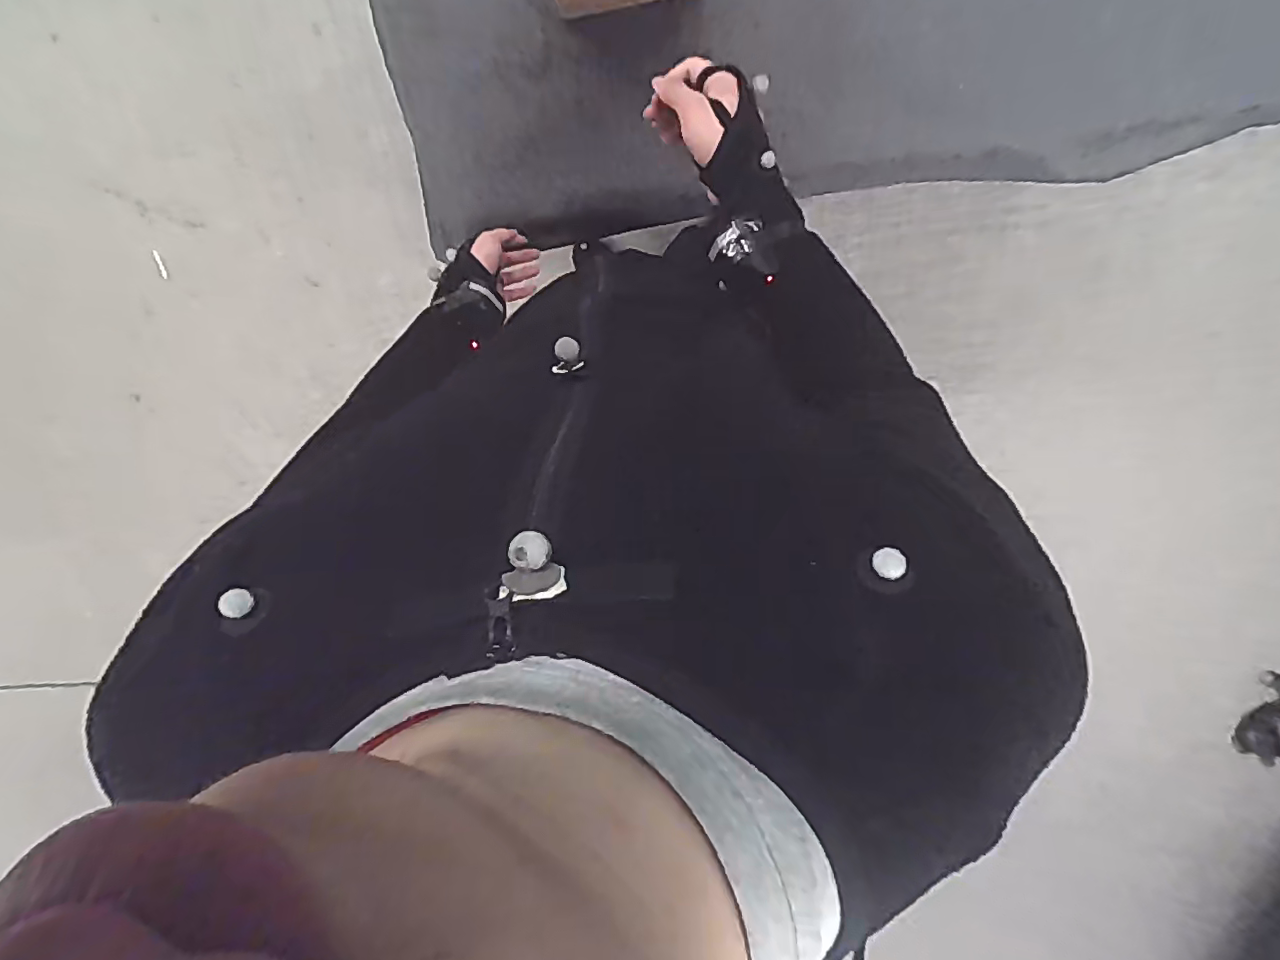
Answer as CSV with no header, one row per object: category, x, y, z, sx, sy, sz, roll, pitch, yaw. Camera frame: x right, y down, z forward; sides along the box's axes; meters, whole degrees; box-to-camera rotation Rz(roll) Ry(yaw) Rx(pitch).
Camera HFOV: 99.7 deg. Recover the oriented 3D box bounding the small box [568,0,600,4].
small box,-0.023,-0.570,0.486,0.168,0.176,0.179,-10,115,3
